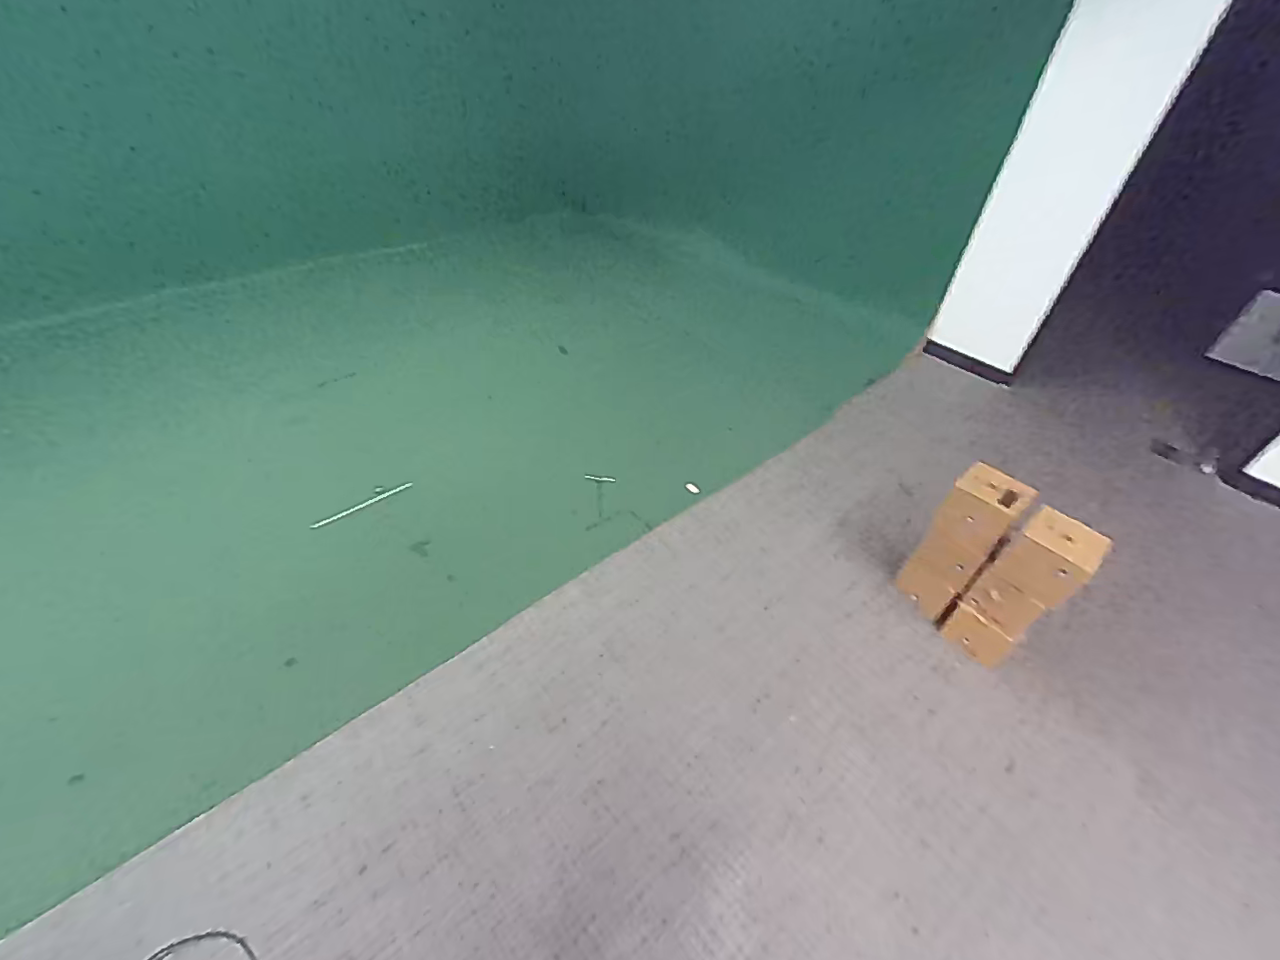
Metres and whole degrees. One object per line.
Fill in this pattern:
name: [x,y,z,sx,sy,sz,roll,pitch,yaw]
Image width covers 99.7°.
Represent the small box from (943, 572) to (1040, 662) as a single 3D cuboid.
small box: [1.088,0.428,1.687,0.179,0.176,0.168,-30,53,-28]
